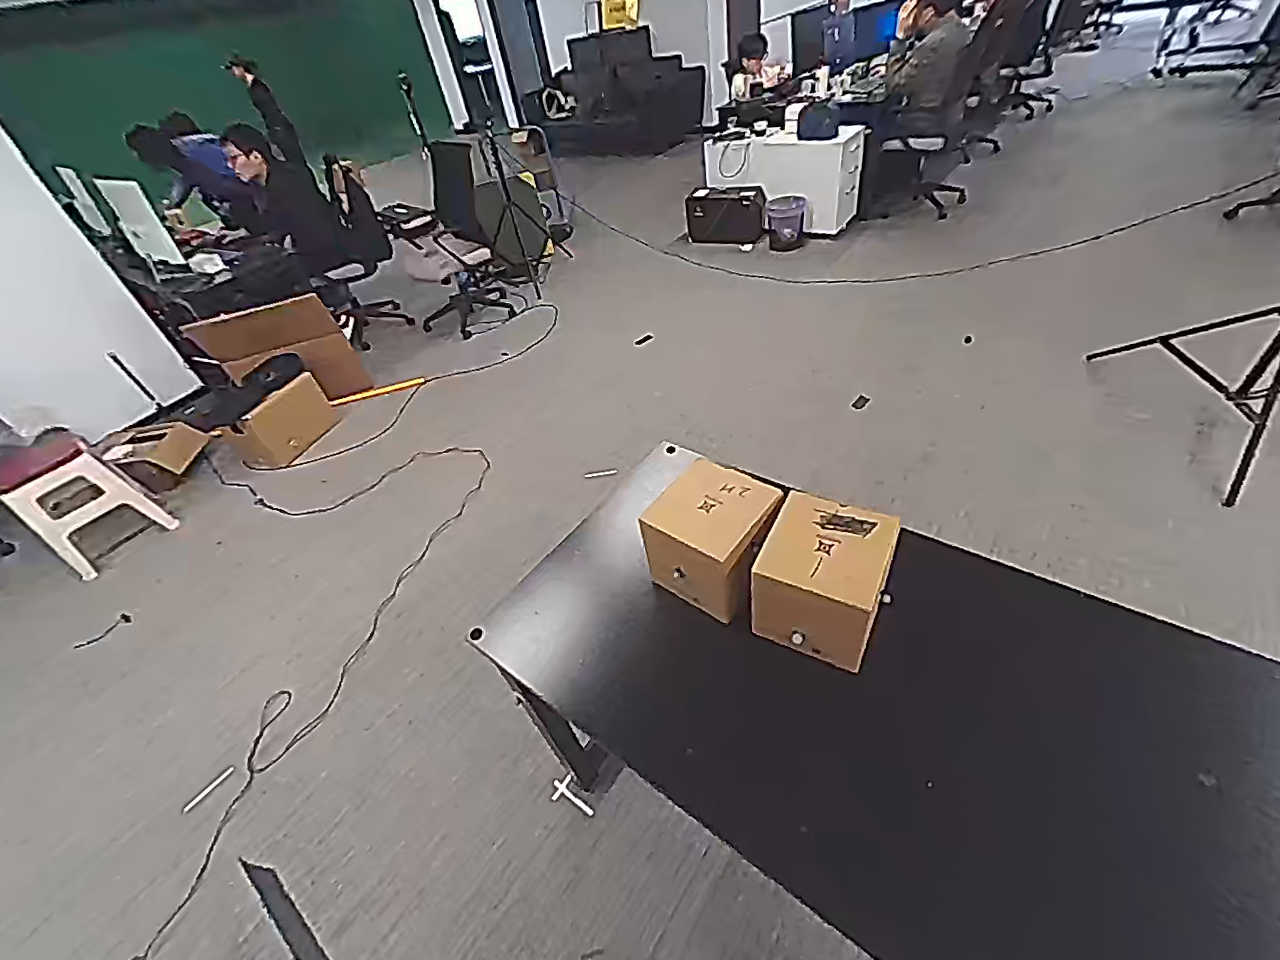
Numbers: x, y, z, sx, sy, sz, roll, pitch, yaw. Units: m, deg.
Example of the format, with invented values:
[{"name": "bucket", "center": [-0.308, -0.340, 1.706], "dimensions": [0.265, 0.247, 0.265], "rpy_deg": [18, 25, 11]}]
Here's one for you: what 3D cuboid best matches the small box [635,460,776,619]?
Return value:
[{"name": "small box", "center": [0.119, 0.101, 0.921], "dimensions": [0.168, 0.176, 0.179], "rpy_deg": [25, 53, 33]}]
